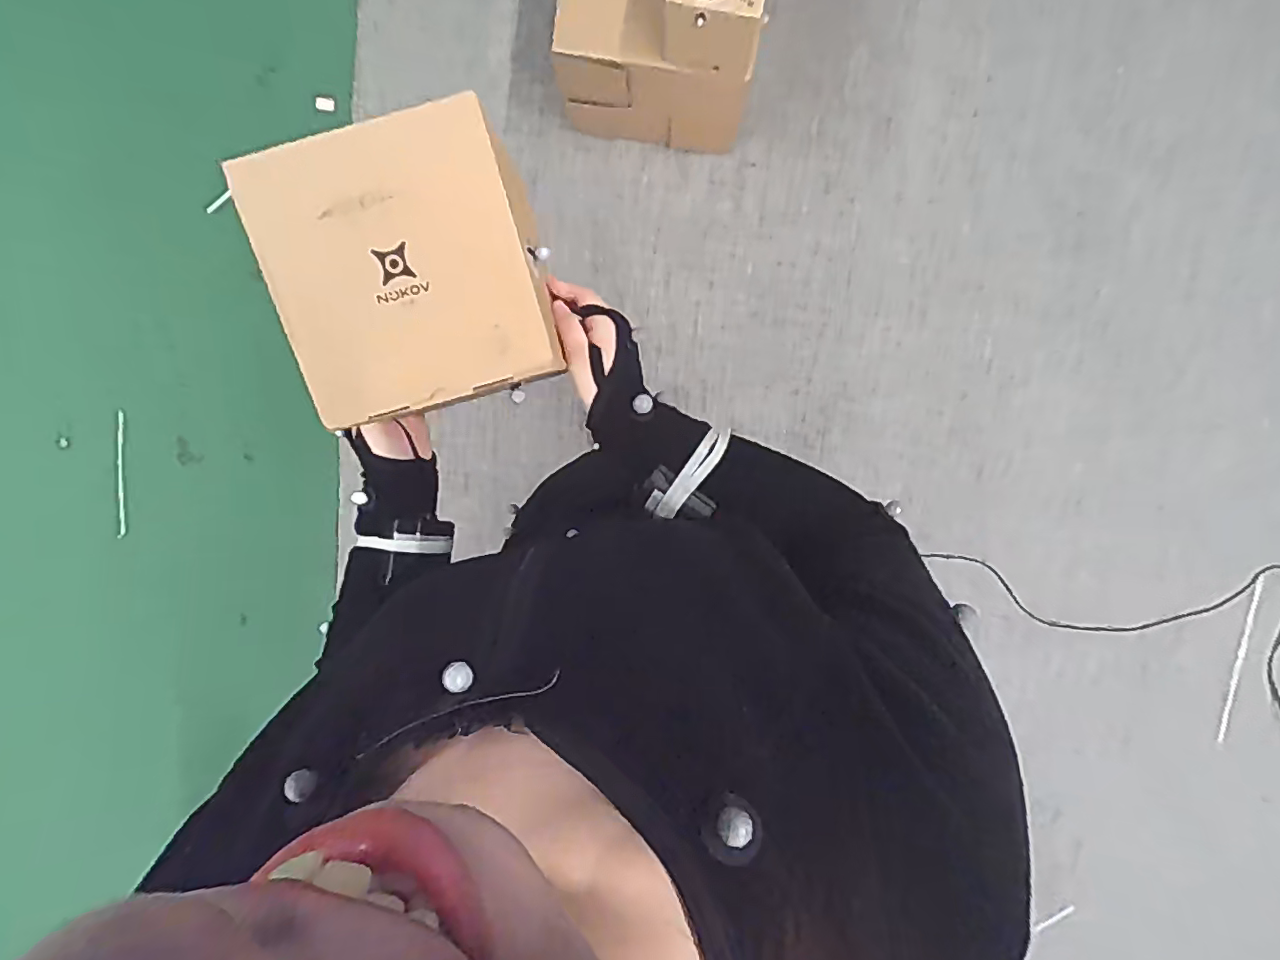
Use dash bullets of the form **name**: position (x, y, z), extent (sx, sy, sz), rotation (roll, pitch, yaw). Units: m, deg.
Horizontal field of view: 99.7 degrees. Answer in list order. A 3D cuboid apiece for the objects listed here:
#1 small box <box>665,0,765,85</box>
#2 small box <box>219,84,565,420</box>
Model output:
- **small box**: position (0.141, -0.867, 0.974), extent (0.168, 0.176, 0.179), rotation (12, 96, 1)
- **small box**: position (-0.164, -0.158, 0.427), extent (0.168, 0.176, 0.179), rotation (-15, 101, 0)
